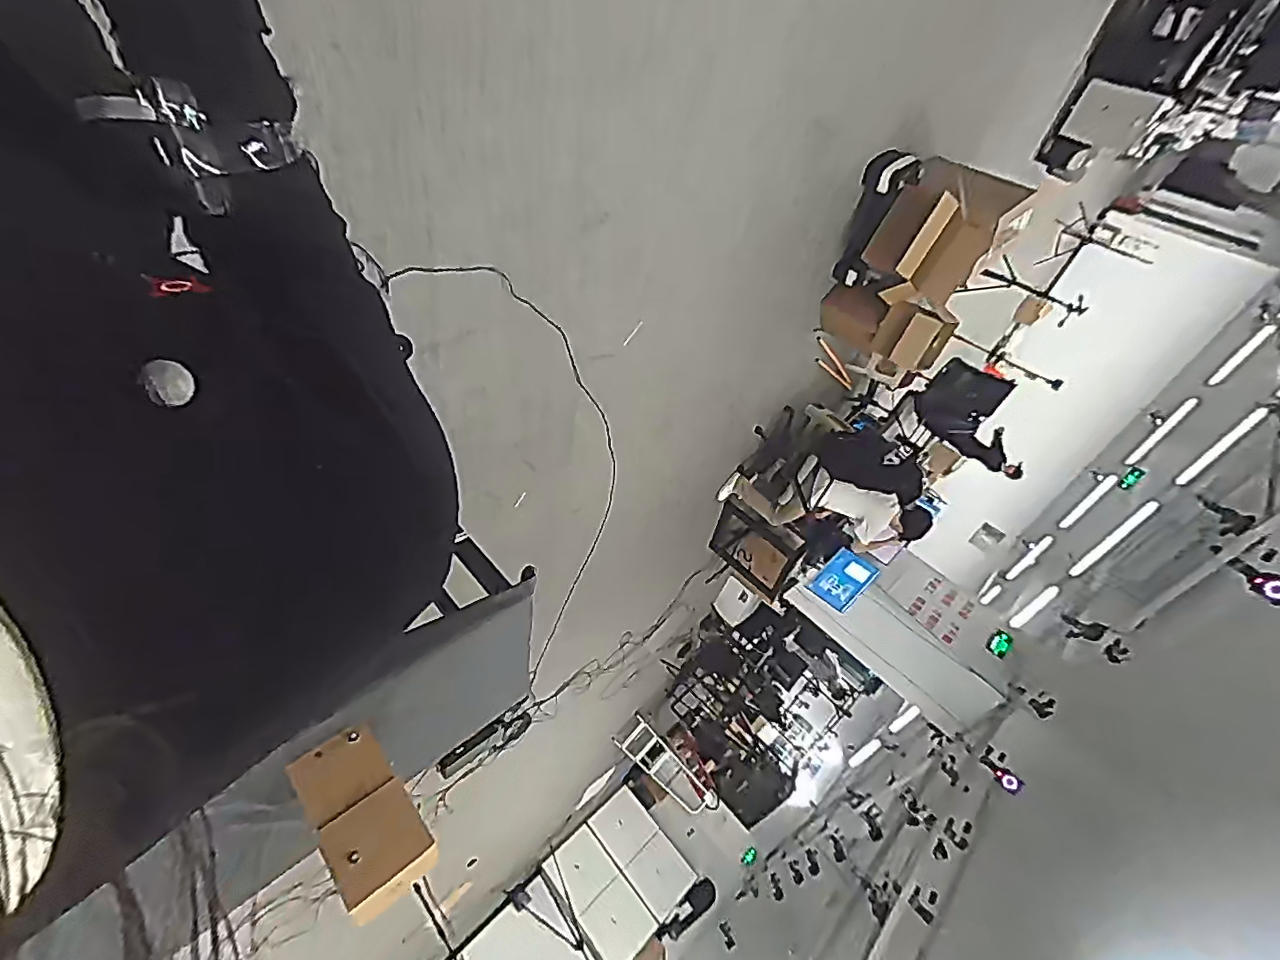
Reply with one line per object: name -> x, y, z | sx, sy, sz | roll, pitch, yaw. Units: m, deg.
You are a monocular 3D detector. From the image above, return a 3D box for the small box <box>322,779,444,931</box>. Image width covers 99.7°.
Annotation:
small box -> -0.533, 0.772, 1.123 | 0.179, 0.176, 0.168 | -28, 147, -38

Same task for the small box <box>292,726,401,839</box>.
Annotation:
small box -> -0.642, 0.687, 1.210 | 0.168, 0.176, 0.179 | -31, 146, -34
